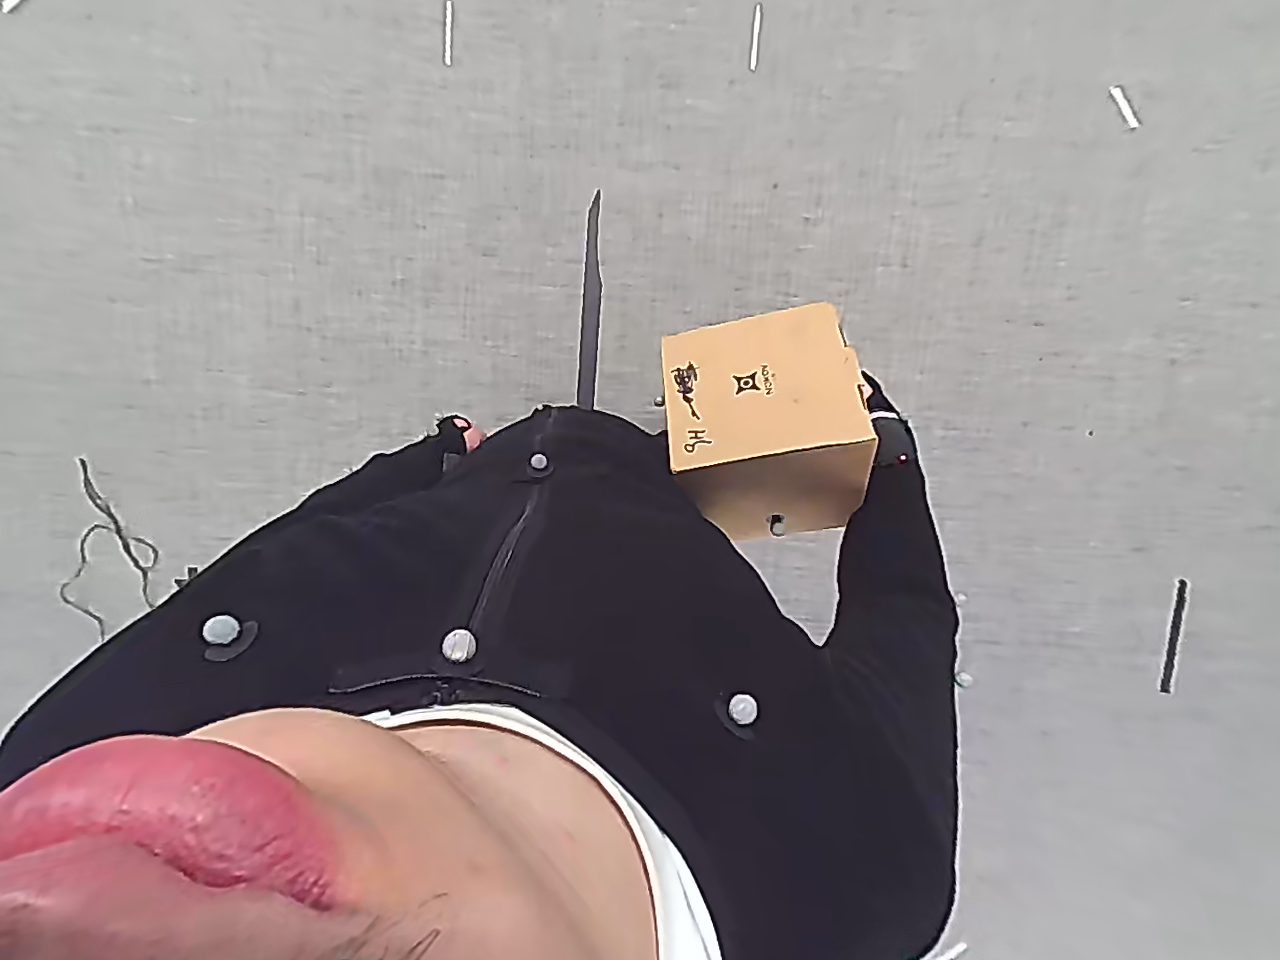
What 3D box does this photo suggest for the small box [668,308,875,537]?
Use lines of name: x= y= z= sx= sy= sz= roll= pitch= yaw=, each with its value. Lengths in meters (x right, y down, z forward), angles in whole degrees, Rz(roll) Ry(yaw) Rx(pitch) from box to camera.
small box: x=0.133 y=-0.052 z=0.584 sx=0.179 sy=0.176 sz=0.168 roll=-9 pitch=58 yaw=11
